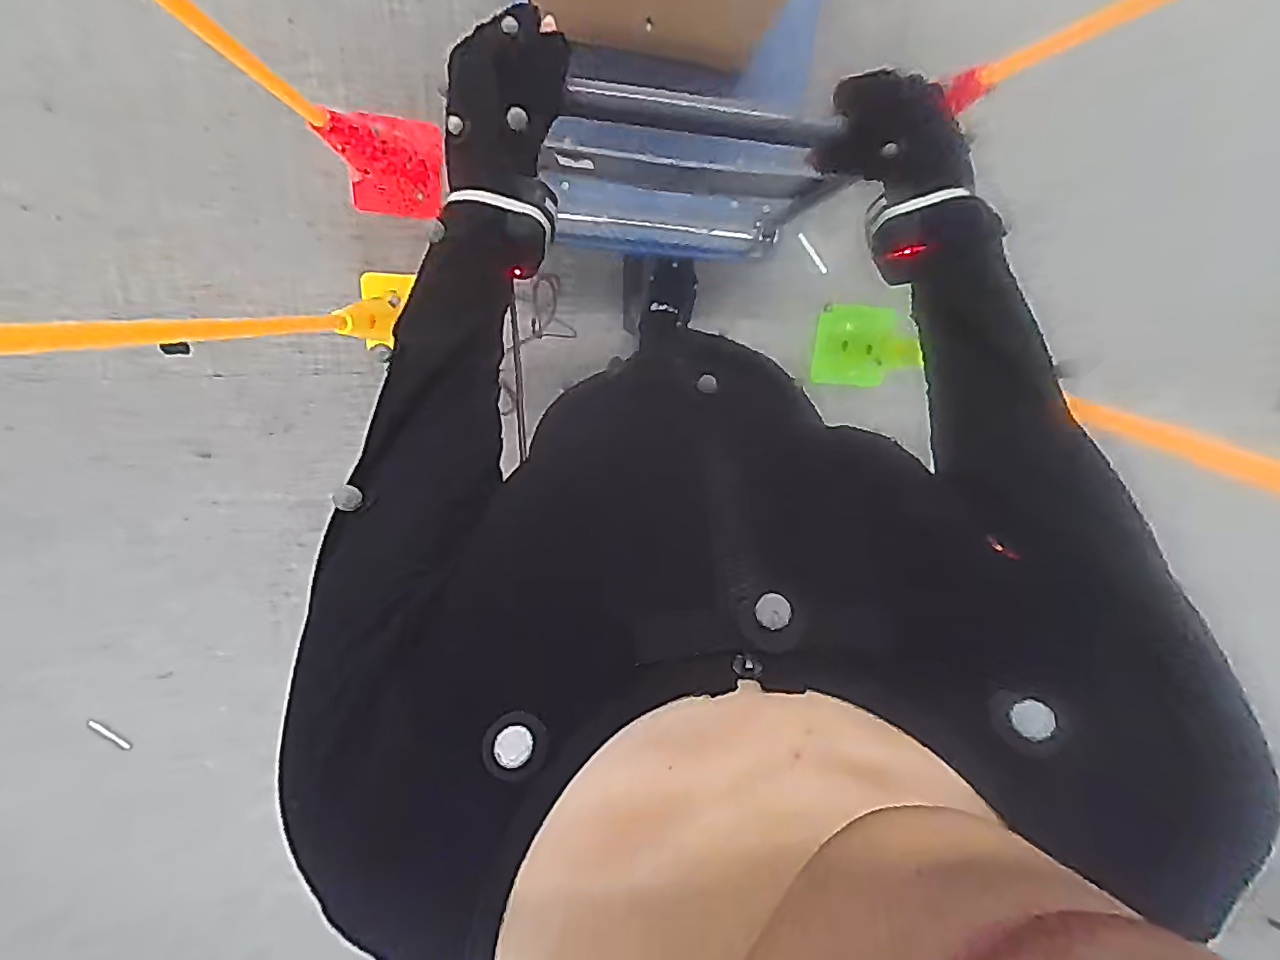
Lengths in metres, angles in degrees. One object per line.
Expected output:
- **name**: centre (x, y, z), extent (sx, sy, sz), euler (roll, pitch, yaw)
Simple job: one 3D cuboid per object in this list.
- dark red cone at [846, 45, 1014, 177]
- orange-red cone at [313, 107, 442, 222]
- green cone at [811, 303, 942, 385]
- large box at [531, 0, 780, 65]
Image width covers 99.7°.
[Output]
- **dark red cone**: centre (0.586, -0.755, 1.081), extent (0.201, 0.394, 0.202), euler (-1, 108, -5)
- **orange-red cone**: centre (-0.544, -0.659, 1.072), extent (0.198, 0.360, 0.199), euler (6, 106, -6)
- **green cone**: centre (0.565, -0.299, 1.245), extent (0.202, 0.368, 0.200), euler (2, 108, -5)
- **large box**: centre (0.030, -0.924, 0.863), extent (0.408, 0.320, 0.320), euler (6, 107, -5)
